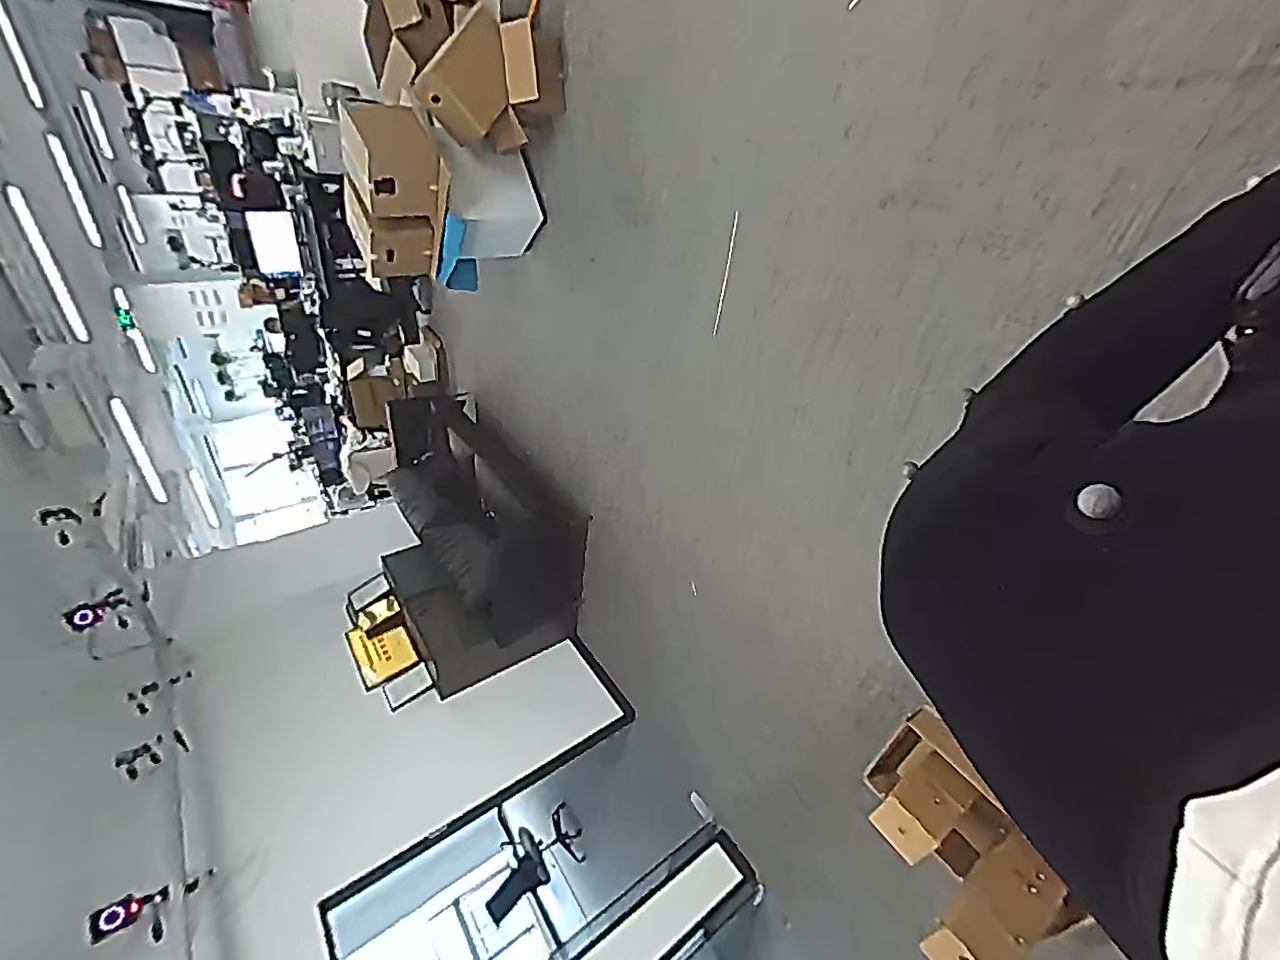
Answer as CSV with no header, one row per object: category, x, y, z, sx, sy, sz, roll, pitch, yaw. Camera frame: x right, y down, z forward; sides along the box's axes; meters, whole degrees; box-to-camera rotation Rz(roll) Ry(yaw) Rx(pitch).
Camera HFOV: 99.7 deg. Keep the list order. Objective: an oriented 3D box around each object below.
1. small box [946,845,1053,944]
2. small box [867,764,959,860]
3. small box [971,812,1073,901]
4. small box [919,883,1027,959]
small box,1.030,1.199,1.547,0.168,0.176,0.179,44,138,36
small box,0.866,1.045,1.711,0.168,0.176,0.179,43,137,35
small box,1.159,1.157,1.637,0.168,0.176,0.179,44,139,35
small box,0.900,1.239,1.456,0.168,0.176,0.179,42,138,37
